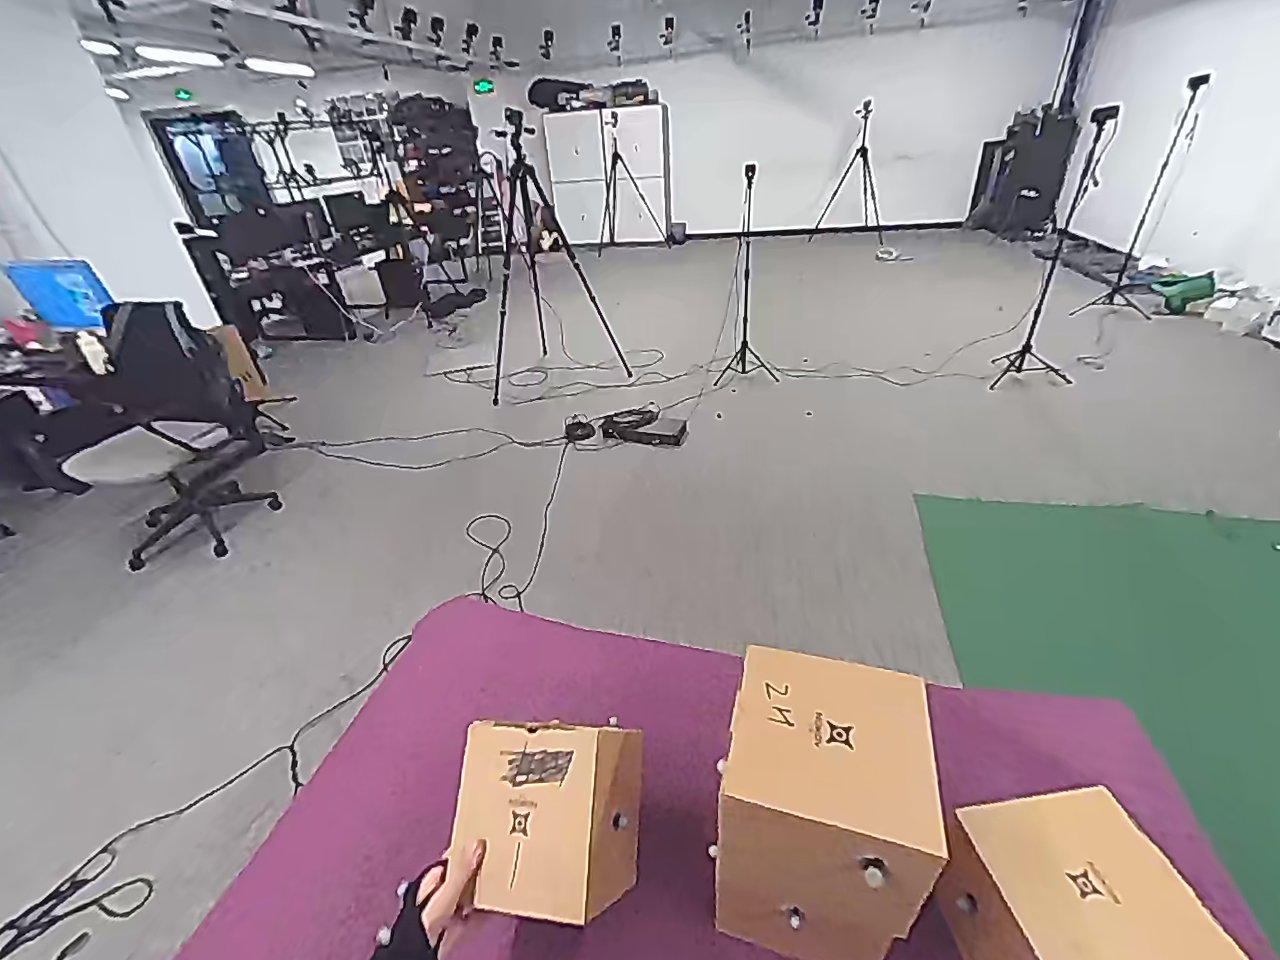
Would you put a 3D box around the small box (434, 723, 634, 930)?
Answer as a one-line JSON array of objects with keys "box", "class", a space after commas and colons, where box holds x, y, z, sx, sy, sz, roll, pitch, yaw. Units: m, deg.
[{"box": [-0.110, 0.387, 0.641, 0.168, 0.176, 0.179, -5, 67, 17], "class": "small box"}]

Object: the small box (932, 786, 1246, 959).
[{"box": [0.430, 0.454, 0.558, 0.179, 0.176, 0.168, -6, 32, -4], "class": "small box"}]

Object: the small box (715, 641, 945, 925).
[{"box": [0.176, 0.293, 0.533, 0.179, 0.176, 0.168, 7, 34, 17], "class": "small box"}]
